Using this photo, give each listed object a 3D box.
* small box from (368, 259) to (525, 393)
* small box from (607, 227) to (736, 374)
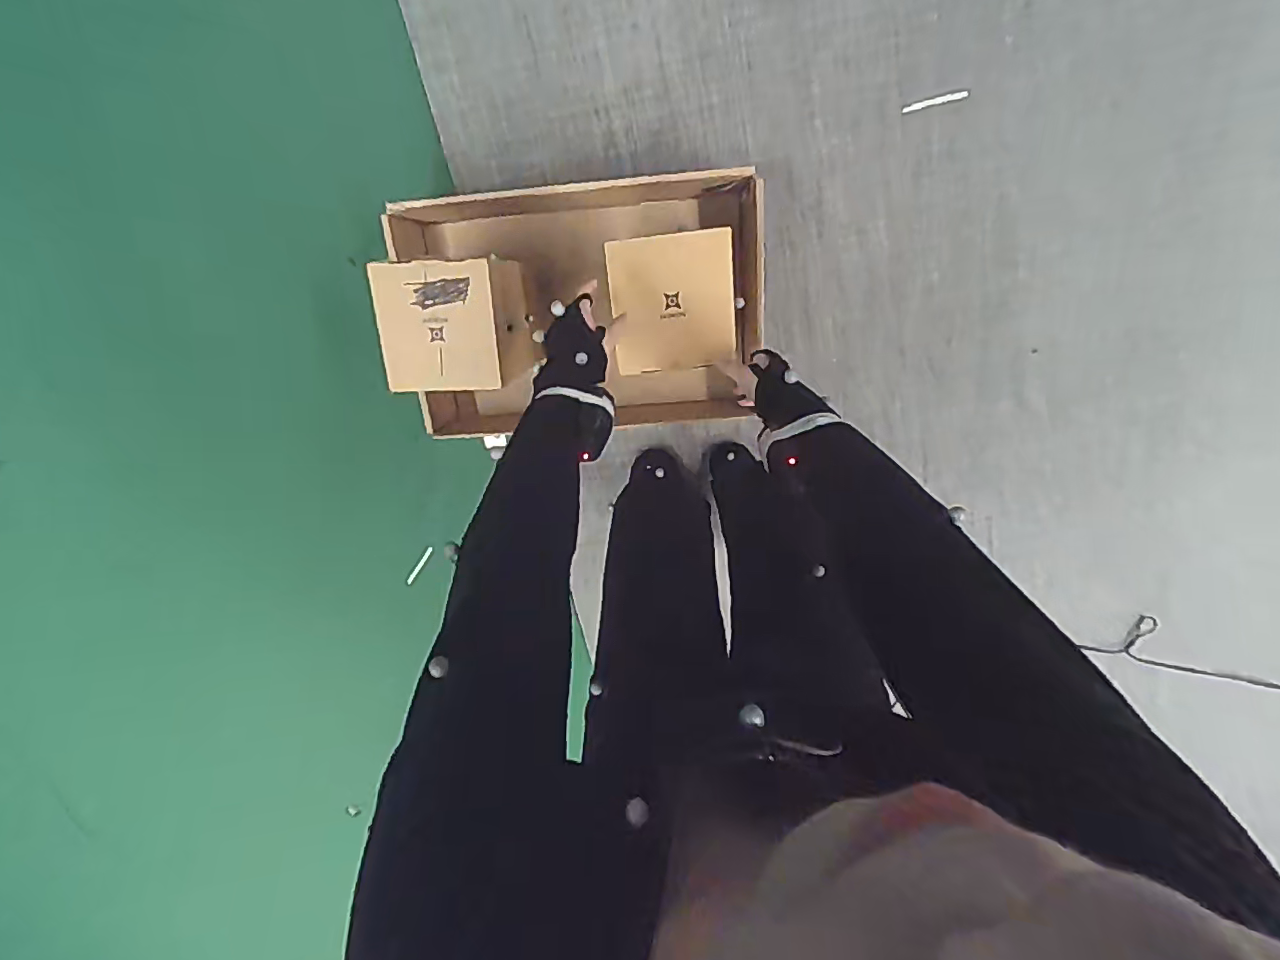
[{"bbox_3d":[-0.277,-0.233,0.815,0.168,0.176,0.179,-1,111,2],"label":"small box"},{"bbox_3d":[0.047,-0.259,0.791,0.168,0.176,0.179,-4,110,5],"label":"small box"}]
